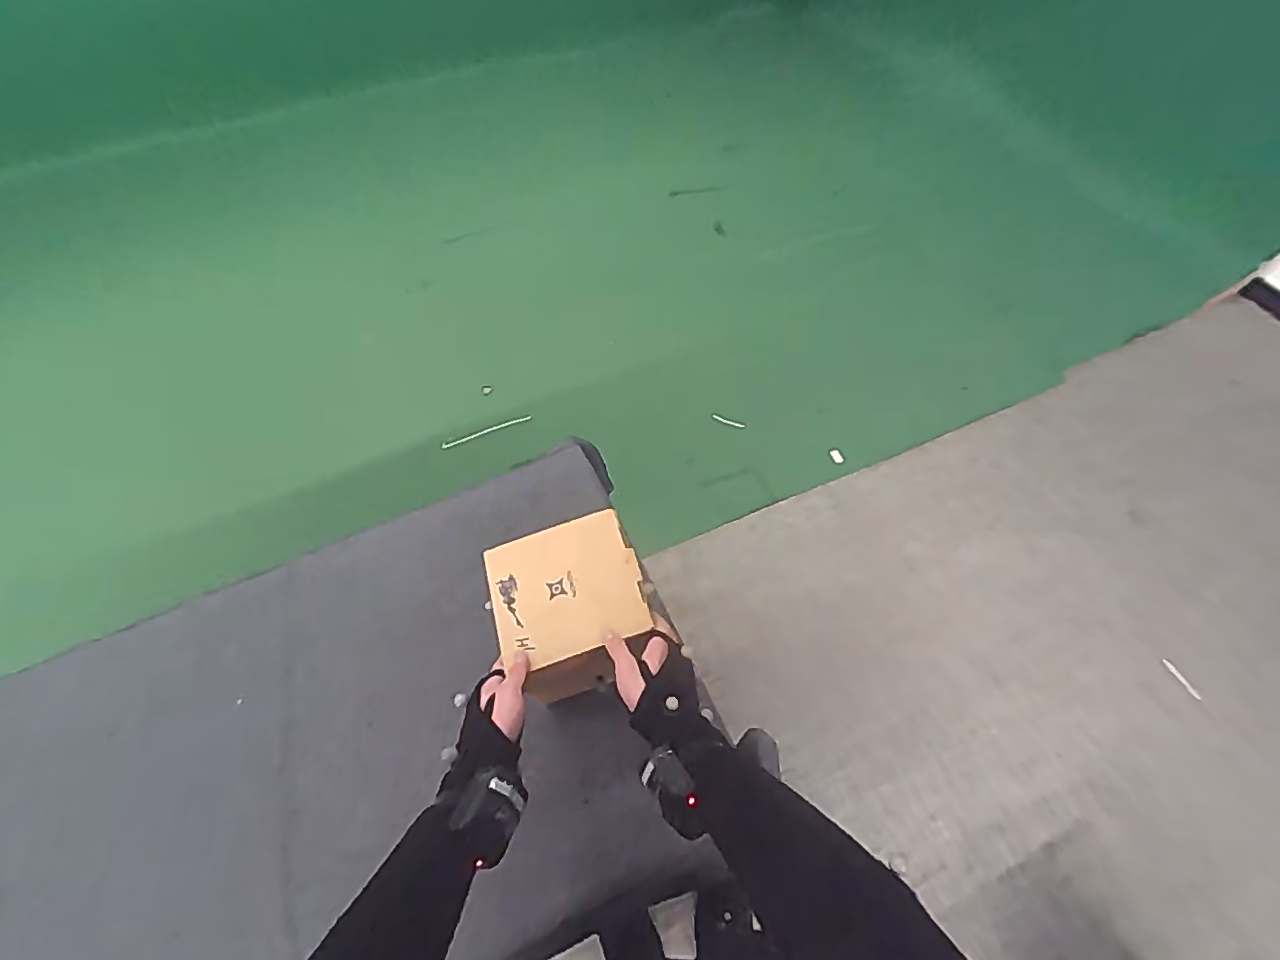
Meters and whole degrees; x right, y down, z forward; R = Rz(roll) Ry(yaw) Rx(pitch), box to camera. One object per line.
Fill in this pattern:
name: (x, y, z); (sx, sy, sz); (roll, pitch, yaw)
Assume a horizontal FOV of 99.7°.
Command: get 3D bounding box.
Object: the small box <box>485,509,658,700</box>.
small box: (-0.082, 0.164, 0.695); (0.179, 0.176, 0.168); (-16, 58, -6)
